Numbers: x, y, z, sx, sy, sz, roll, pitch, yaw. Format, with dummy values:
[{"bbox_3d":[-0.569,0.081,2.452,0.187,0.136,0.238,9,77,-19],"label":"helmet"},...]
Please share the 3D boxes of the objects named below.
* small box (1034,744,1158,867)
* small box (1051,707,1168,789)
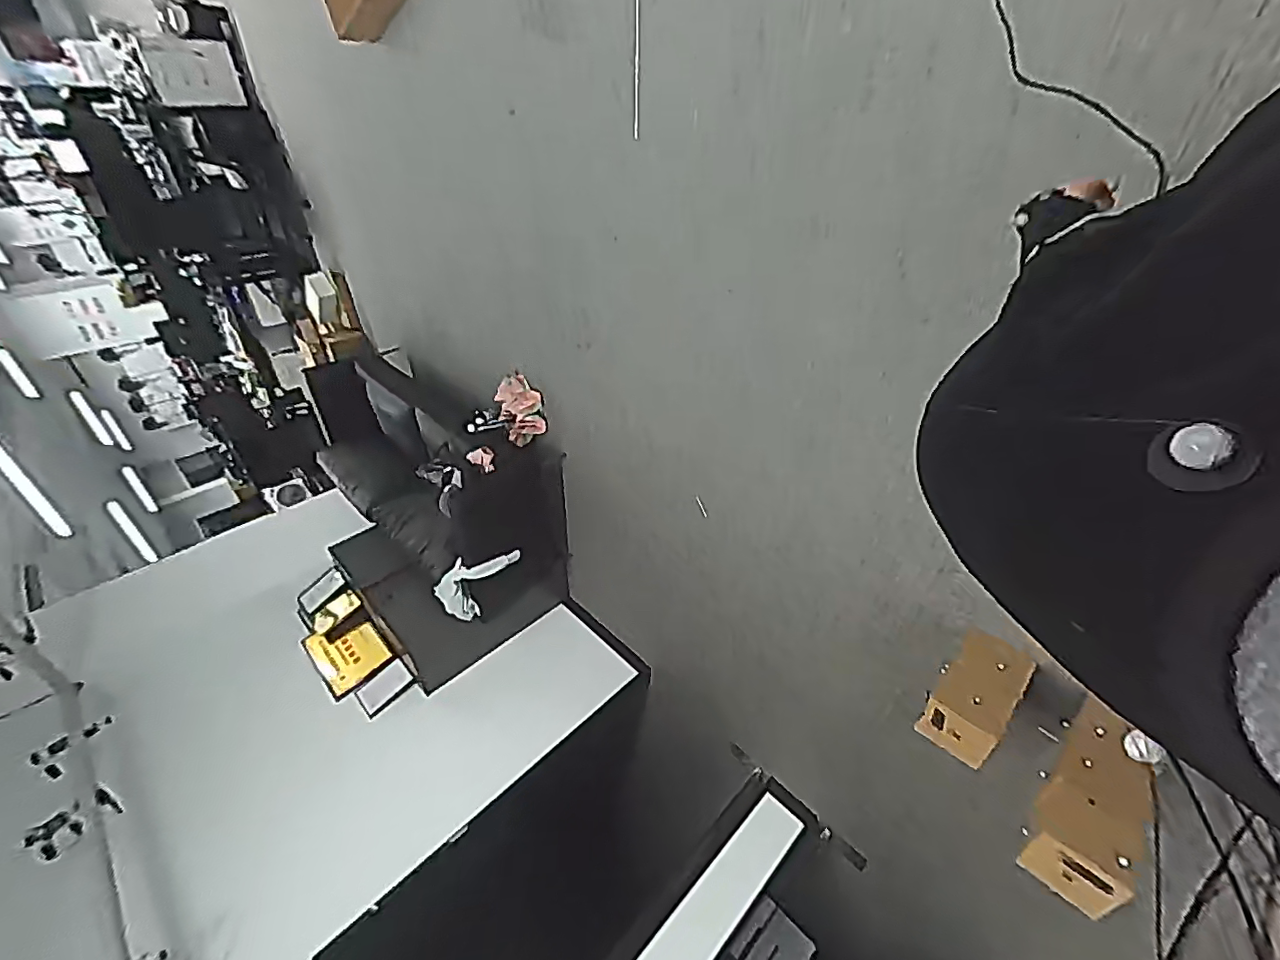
[{"bbox_3d":[1.128,0.792,1.340,0.179,0.176,0.168,29,134,36],"label":"small box"},{"bbox_3d":[1.247,0.738,1.439,0.179,0.176,0.168,29,134,36],"label":"small box"}]
